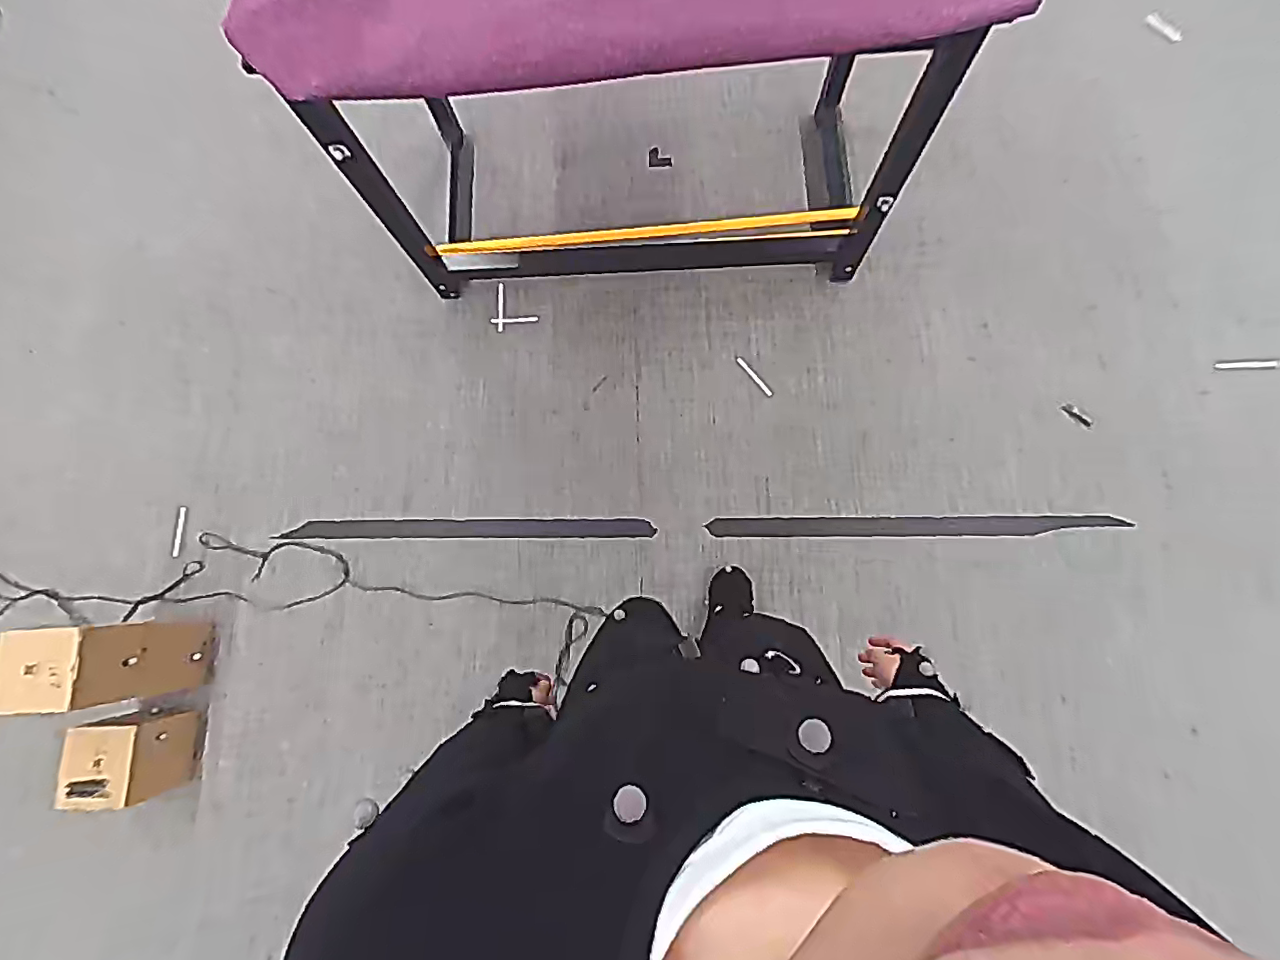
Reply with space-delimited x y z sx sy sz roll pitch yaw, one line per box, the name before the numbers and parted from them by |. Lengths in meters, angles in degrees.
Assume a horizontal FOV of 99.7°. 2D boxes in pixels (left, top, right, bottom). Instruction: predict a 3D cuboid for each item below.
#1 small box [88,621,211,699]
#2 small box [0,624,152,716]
small box | -1.207 0.434 1.317 0.179 0.176 0.168 -2 78 2
small box | -1.214 0.399 1.156 0.179 0.176 0.168 -3 79 2
